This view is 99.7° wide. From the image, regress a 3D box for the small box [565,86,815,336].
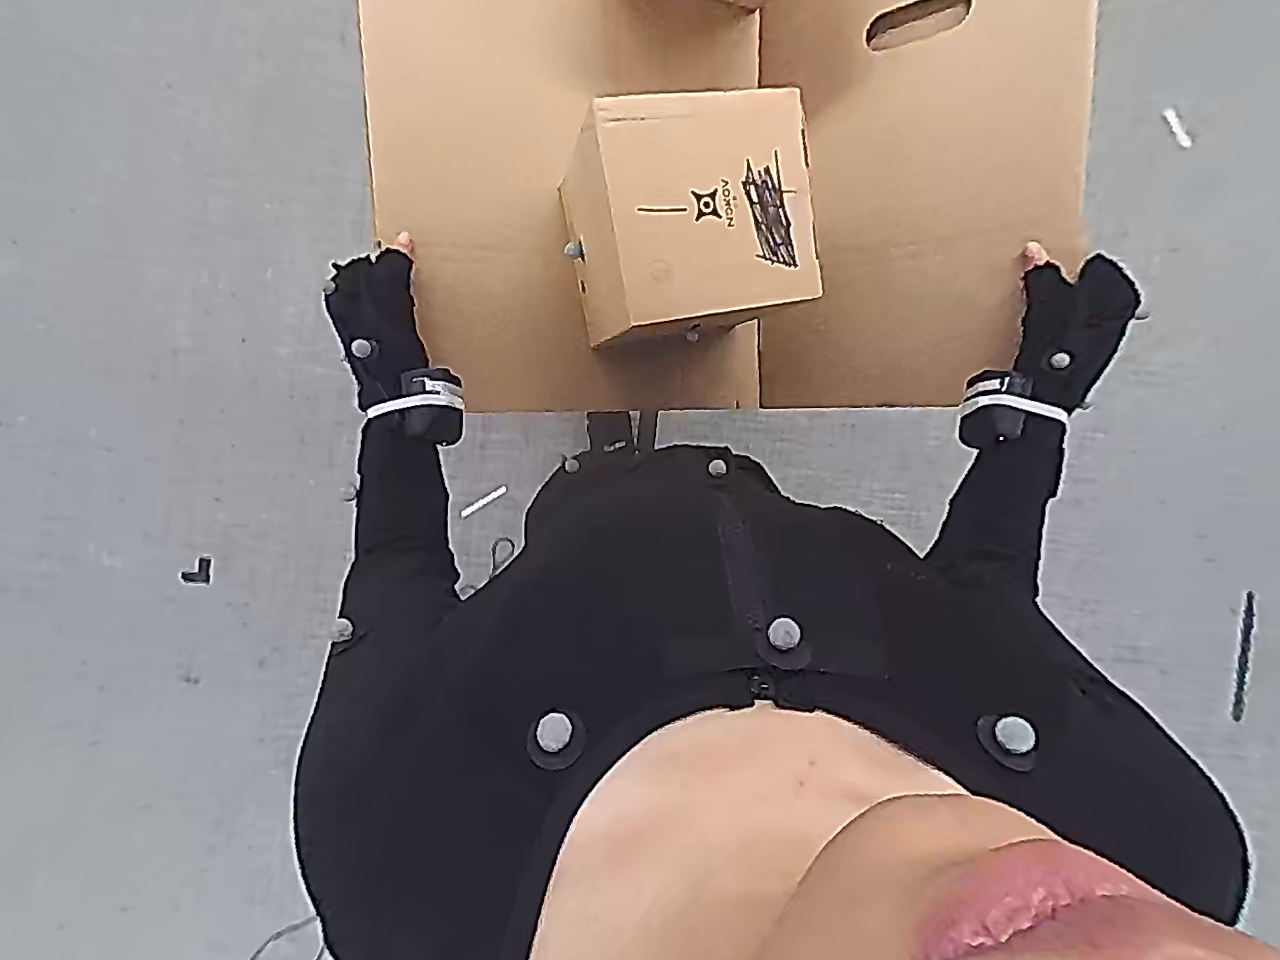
[{"bbox_3d":[0.038,-0.238,0.513,0.179,0.176,0.168,-12,101,-13],"label":"small box"}]
